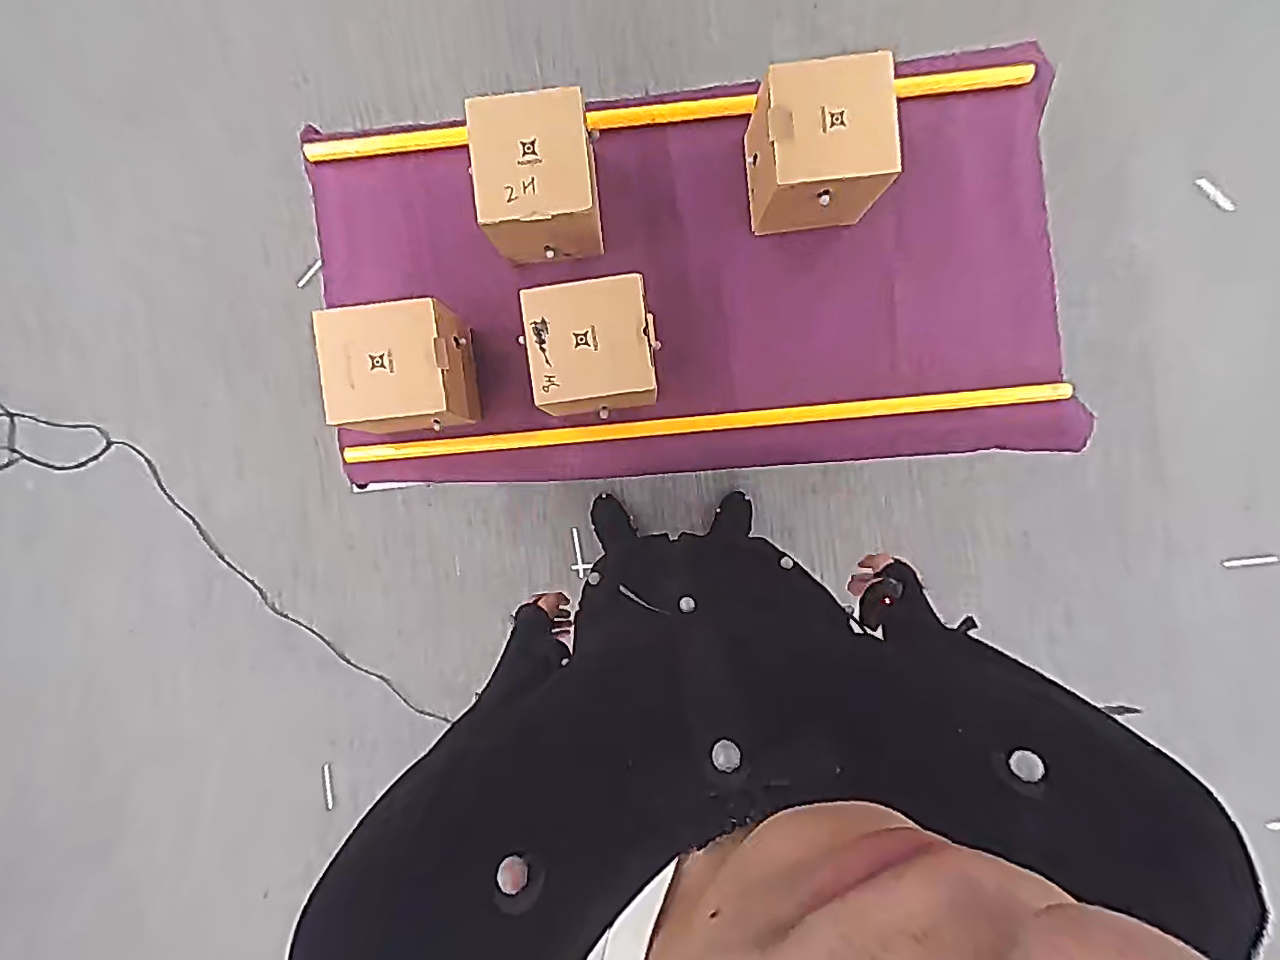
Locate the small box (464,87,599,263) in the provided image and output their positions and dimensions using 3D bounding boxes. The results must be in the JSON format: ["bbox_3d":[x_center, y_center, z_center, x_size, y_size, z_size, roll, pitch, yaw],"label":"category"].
[{"bbox_3d":[-0.157,-0.458,0.835,0.168,0.176,0.179,-6,93,2],"label":"small box"}]

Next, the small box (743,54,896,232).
[{"bbox_3d":[0.264,-0.500,0.826,0.179,0.176,0.168,-5,92,2],"label":"small box"}]

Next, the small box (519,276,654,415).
[{"bbox_3d":[-0.075,-0.198,0.838,0.179,0.176,0.168,-7,91,1],"label":"small box"}]

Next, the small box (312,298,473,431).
[{"bbox_3d":[-0.369,-0.170,0.843,0.179,0.176,0.168,-7,90,-1],"label":"small box"}]
